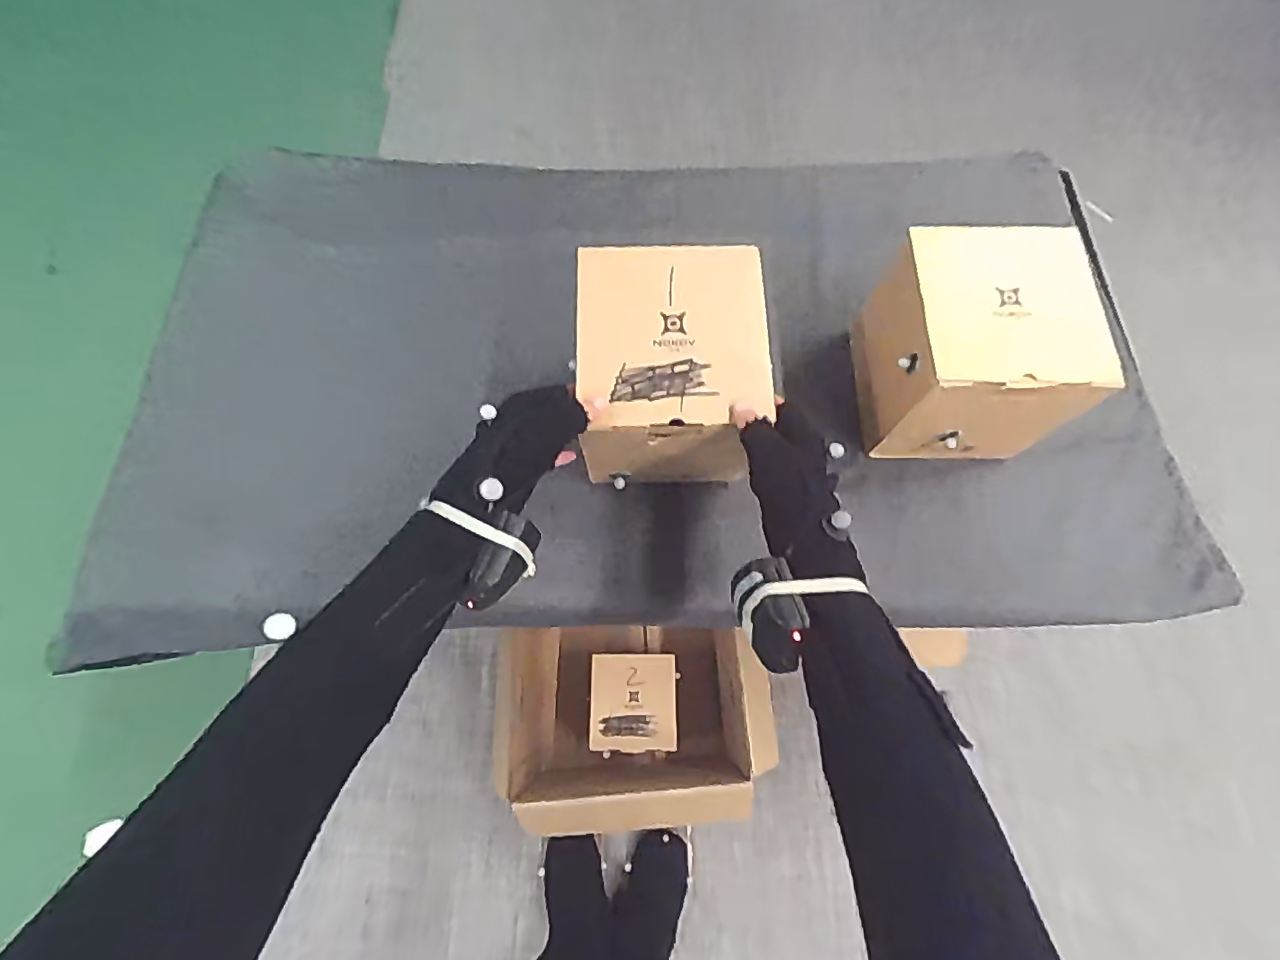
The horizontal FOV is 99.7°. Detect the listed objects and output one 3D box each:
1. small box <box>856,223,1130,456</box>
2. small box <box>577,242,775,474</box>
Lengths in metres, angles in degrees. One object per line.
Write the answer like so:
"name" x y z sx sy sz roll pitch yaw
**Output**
"small box" 0.343 -0.139 0.570 0.168 0.176 0.179 1 71 1
"small box" 0.029 -0.108 0.539 0.168 0.176 0.179 -1 74 -1
